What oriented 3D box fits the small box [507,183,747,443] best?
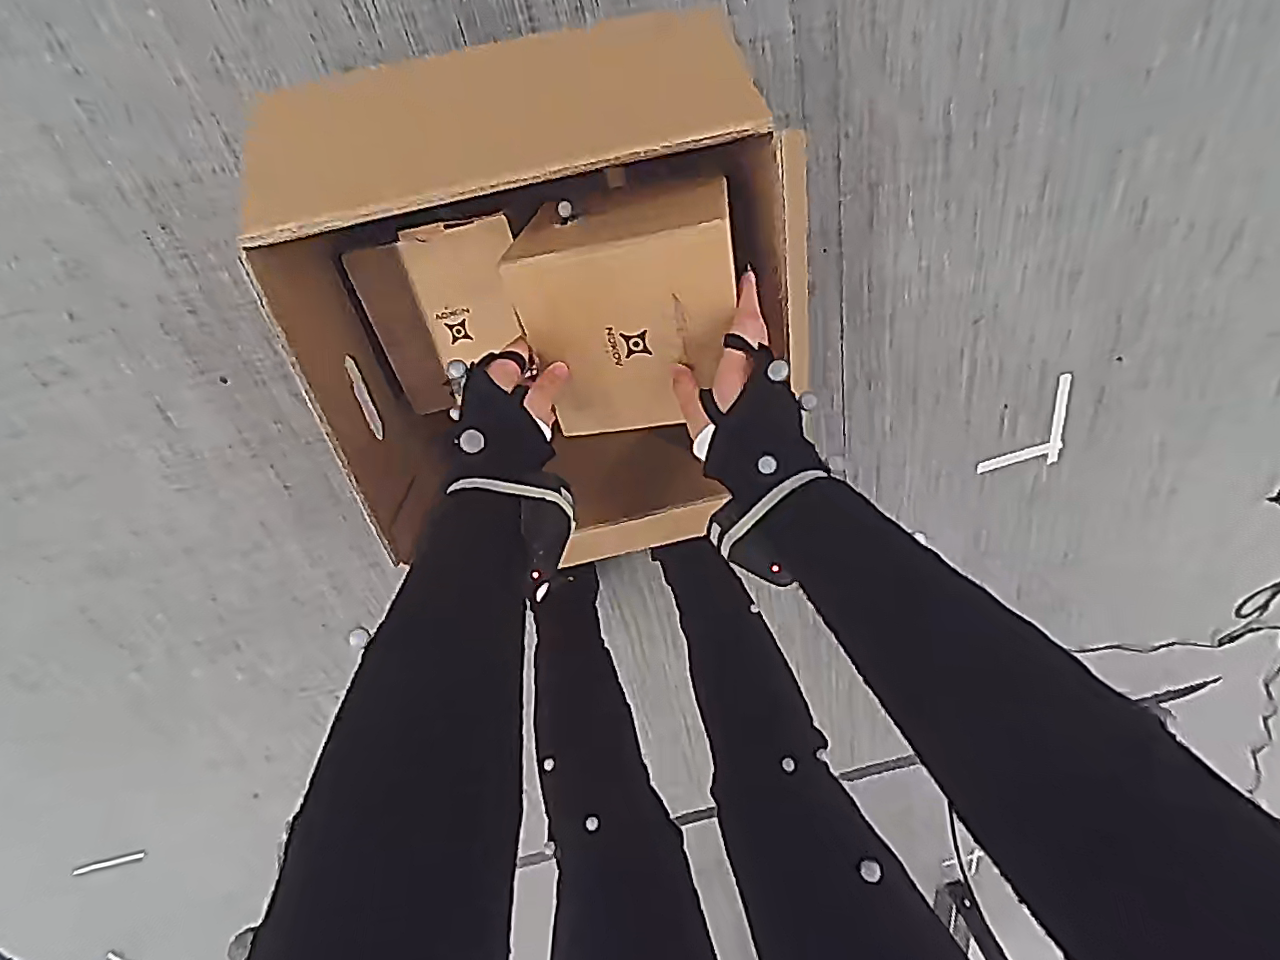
[{"bbox_3d":[0.004,-0.157,0.509,0.179,0.176,0.168,-6,131,13],"label":"small box"}]
